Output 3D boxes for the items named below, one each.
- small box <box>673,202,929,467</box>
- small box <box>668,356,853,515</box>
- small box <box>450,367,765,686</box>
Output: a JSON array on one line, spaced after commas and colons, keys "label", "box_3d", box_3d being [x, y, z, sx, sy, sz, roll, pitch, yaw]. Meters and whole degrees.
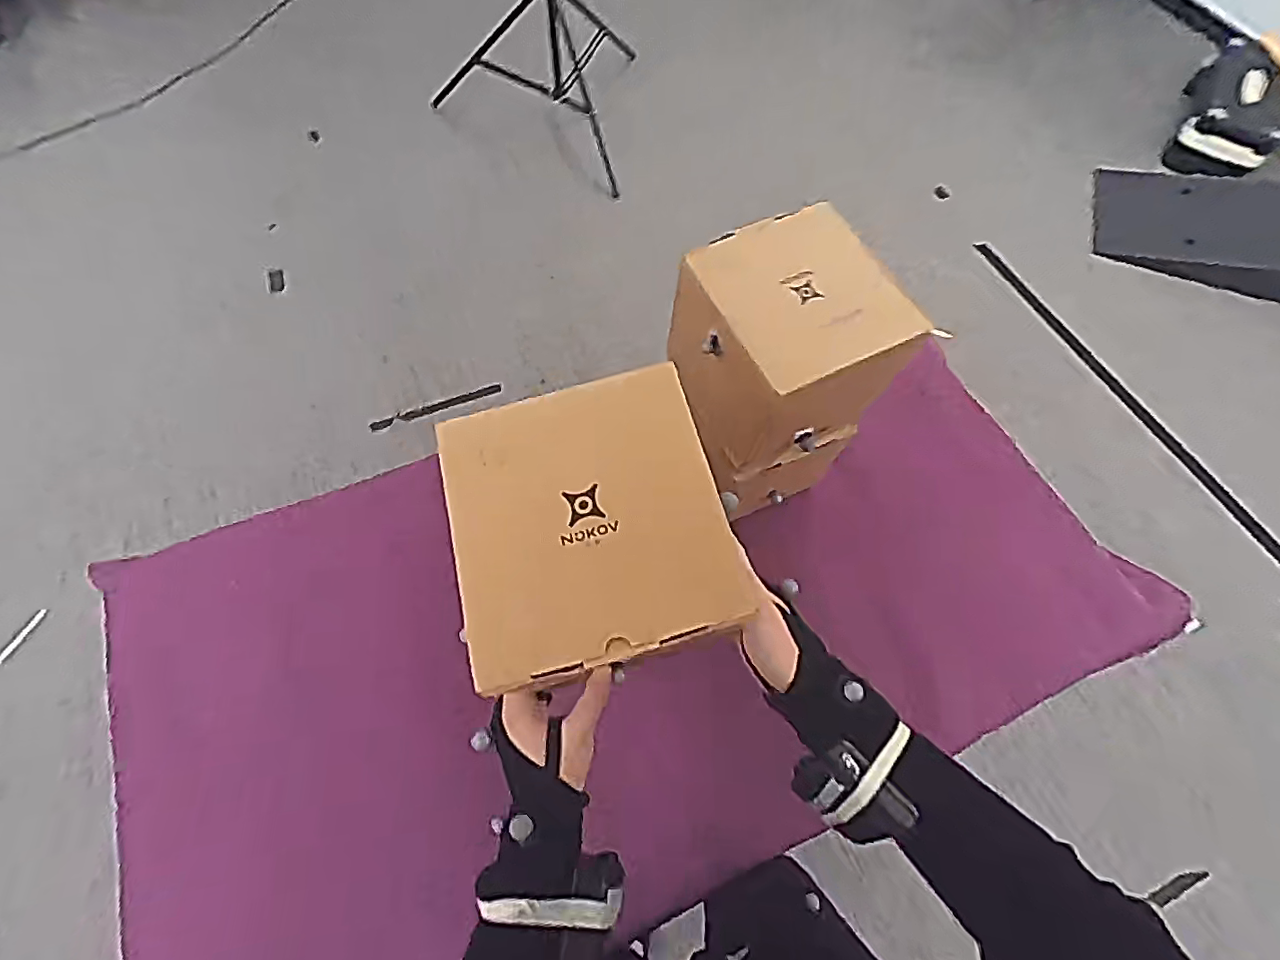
[{"label": "small box", "box_3d": [0.146, -0.143, 0.566, 0.168, 0.176, 0.179, -25, 70, -11]}, {"label": "small box", "box_3d": [0.137, -0.071, 0.712, 0.168, 0.176, 0.179, -22, 70, -10]}, {"label": "small box", "box_3d": [-0.025, 0.047, 0.407, 0.168, 0.176, 0.179, -15, 70, -3]}]
